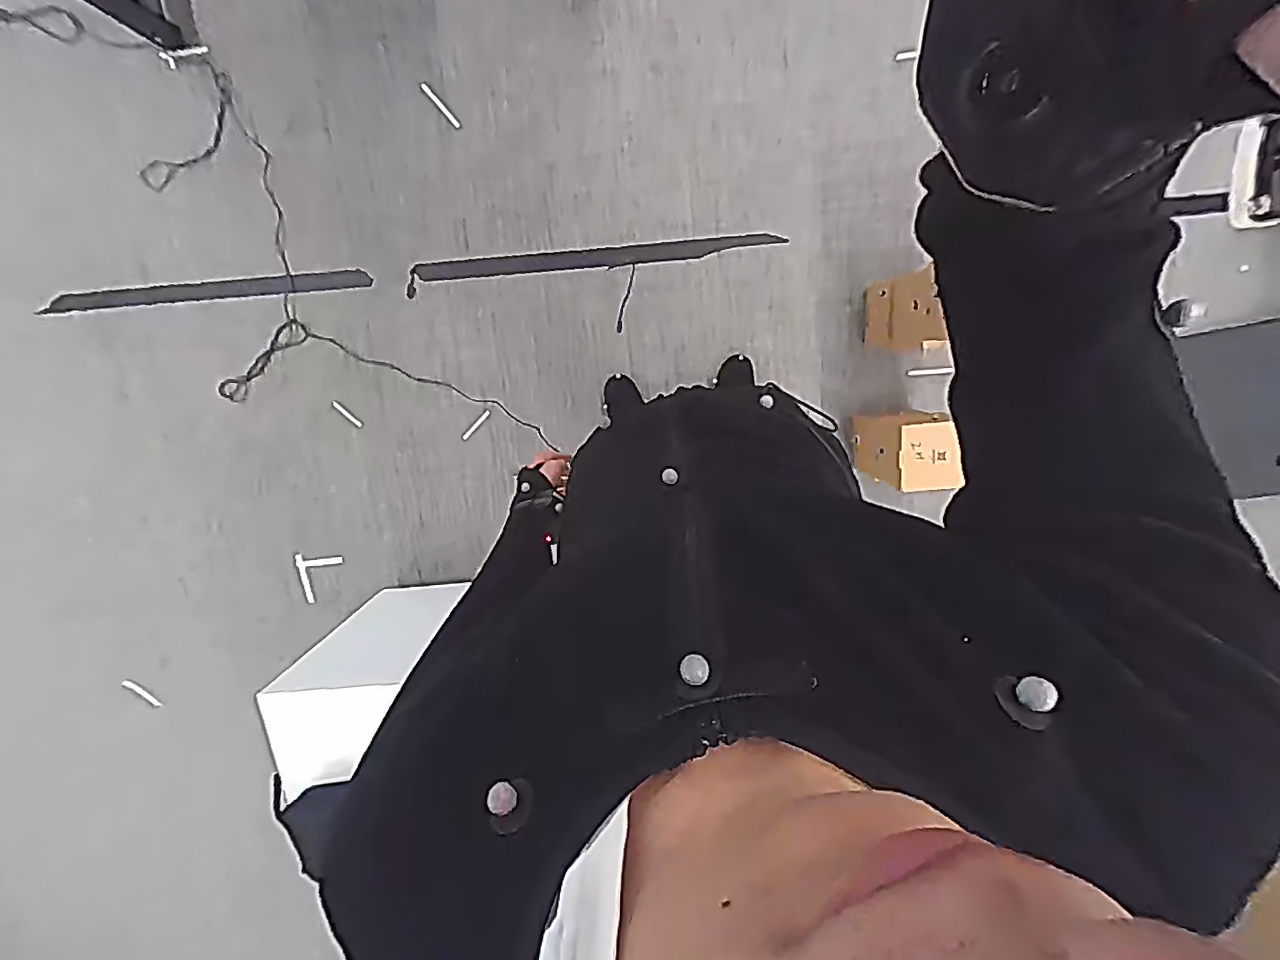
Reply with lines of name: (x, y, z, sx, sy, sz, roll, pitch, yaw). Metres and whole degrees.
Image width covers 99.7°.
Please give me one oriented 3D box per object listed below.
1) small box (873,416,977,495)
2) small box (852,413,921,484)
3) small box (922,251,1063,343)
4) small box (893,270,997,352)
small box: (0.707, -0.067, 1.355, 0.179, 0.176, 0.168, -5, 102, 4)
small box: (0.712, -0.092, 1.518, 0.179, 0.176, 0.168, -6, 102, 5)
small box: (0.714, -0.371, 1.114, 0.179, 0.176, 0.168, -2, 104, 3)
small box: (0.715, -0.398, 1.274, 0.168, 0.176, 0.179, -4, 104, 3)
